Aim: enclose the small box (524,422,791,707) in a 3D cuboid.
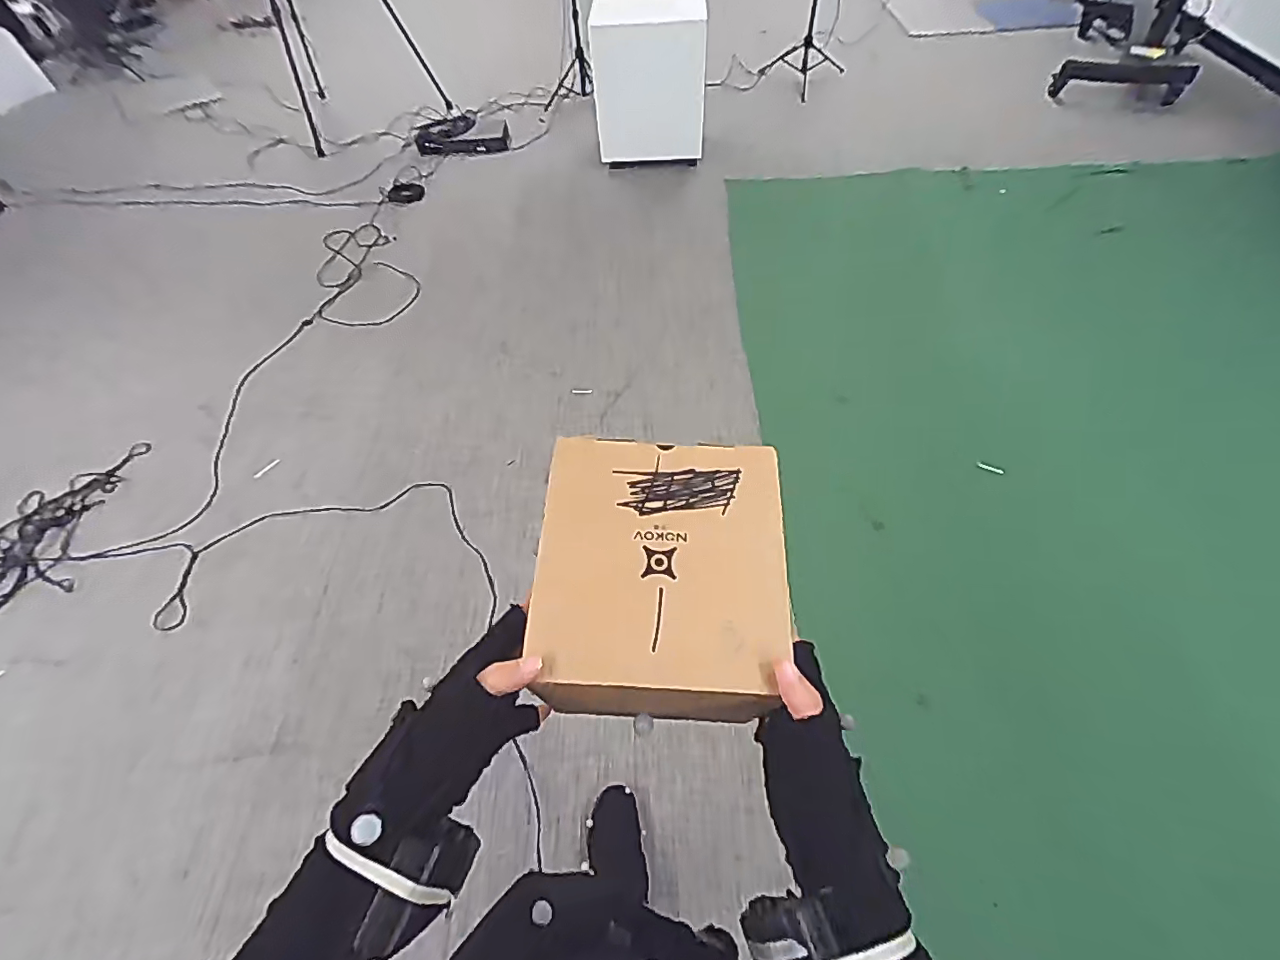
[{"bbox_3d":[0.014,0.074,0.435,0.168,0.176,0.179,2,61,2],"label":"small box"}]
